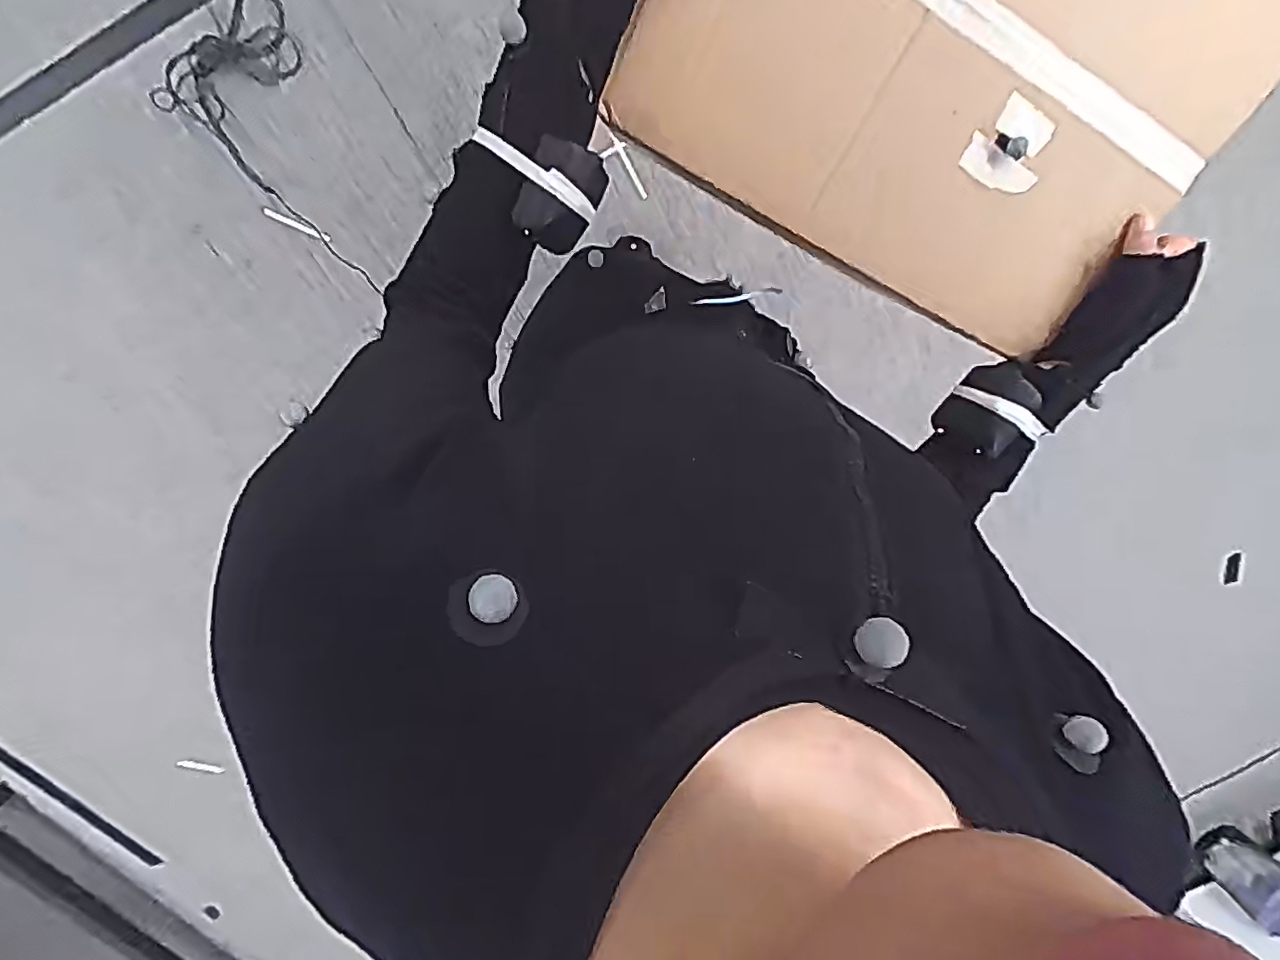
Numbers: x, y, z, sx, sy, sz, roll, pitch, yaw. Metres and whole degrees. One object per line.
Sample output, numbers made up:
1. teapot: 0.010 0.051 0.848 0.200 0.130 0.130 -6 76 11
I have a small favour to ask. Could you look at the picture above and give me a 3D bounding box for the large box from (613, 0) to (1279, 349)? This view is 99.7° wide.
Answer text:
1. large box: 0.217 -0.378 0.484 0.408 0.320 0.320 23 119 -15
